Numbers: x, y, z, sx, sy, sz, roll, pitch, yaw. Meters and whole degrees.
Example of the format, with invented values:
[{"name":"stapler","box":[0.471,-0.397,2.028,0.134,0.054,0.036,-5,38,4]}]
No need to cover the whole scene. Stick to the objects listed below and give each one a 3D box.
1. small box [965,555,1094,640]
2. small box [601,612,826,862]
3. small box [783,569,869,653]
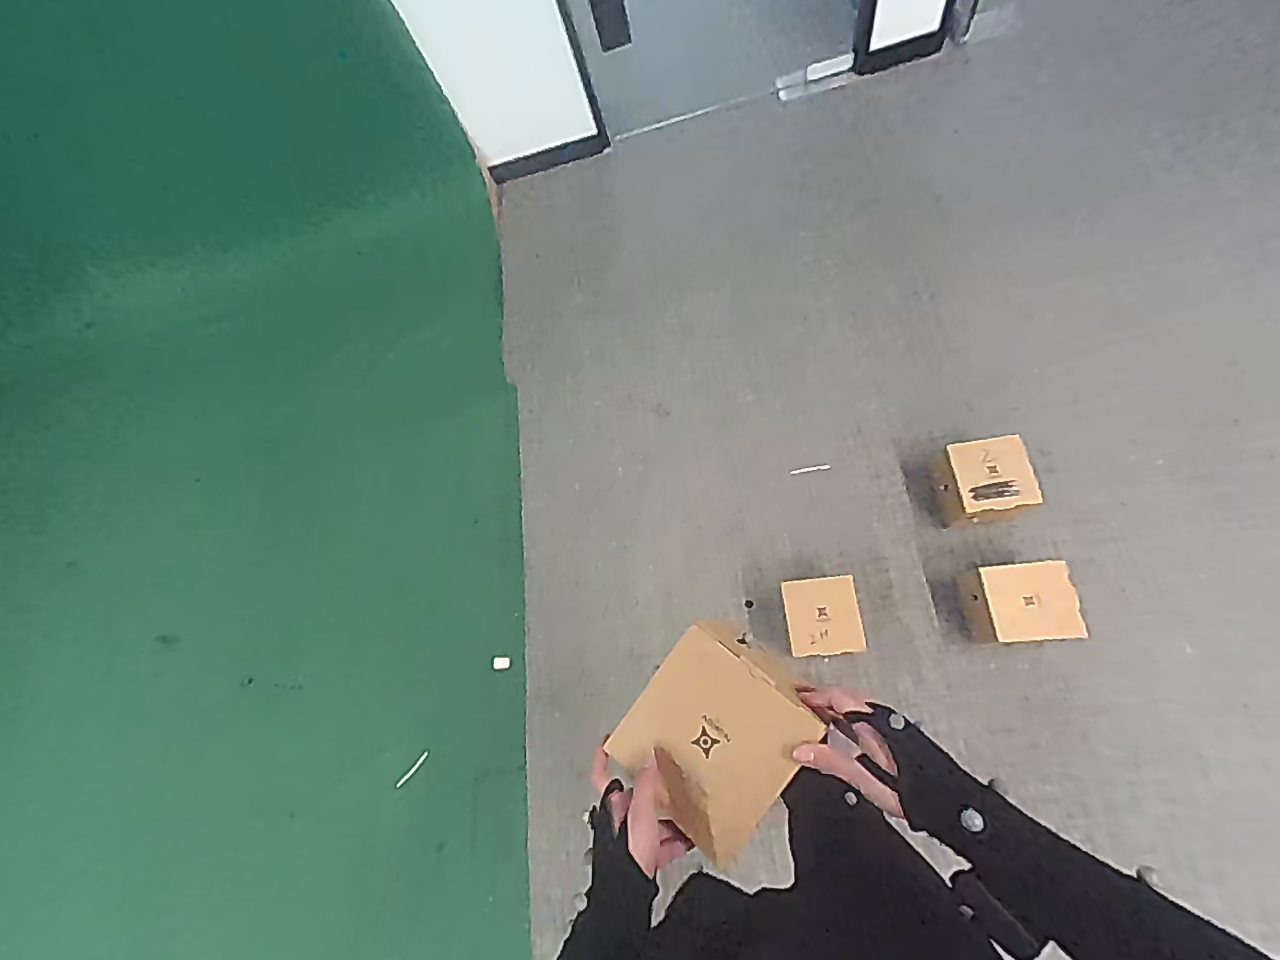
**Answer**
[{"name":"small box","box":[0.867,0.273,1.230,0.179,0.176,0.168,-7,71,11]},{"name":"small box","box":[0.093,0.268,0.615,0.168,0.176,0.179,36,92,25]},{"name":"small box","box":[0.443,0.324,1.315,0.168,0.176,0.179,-8,70,11]}]
